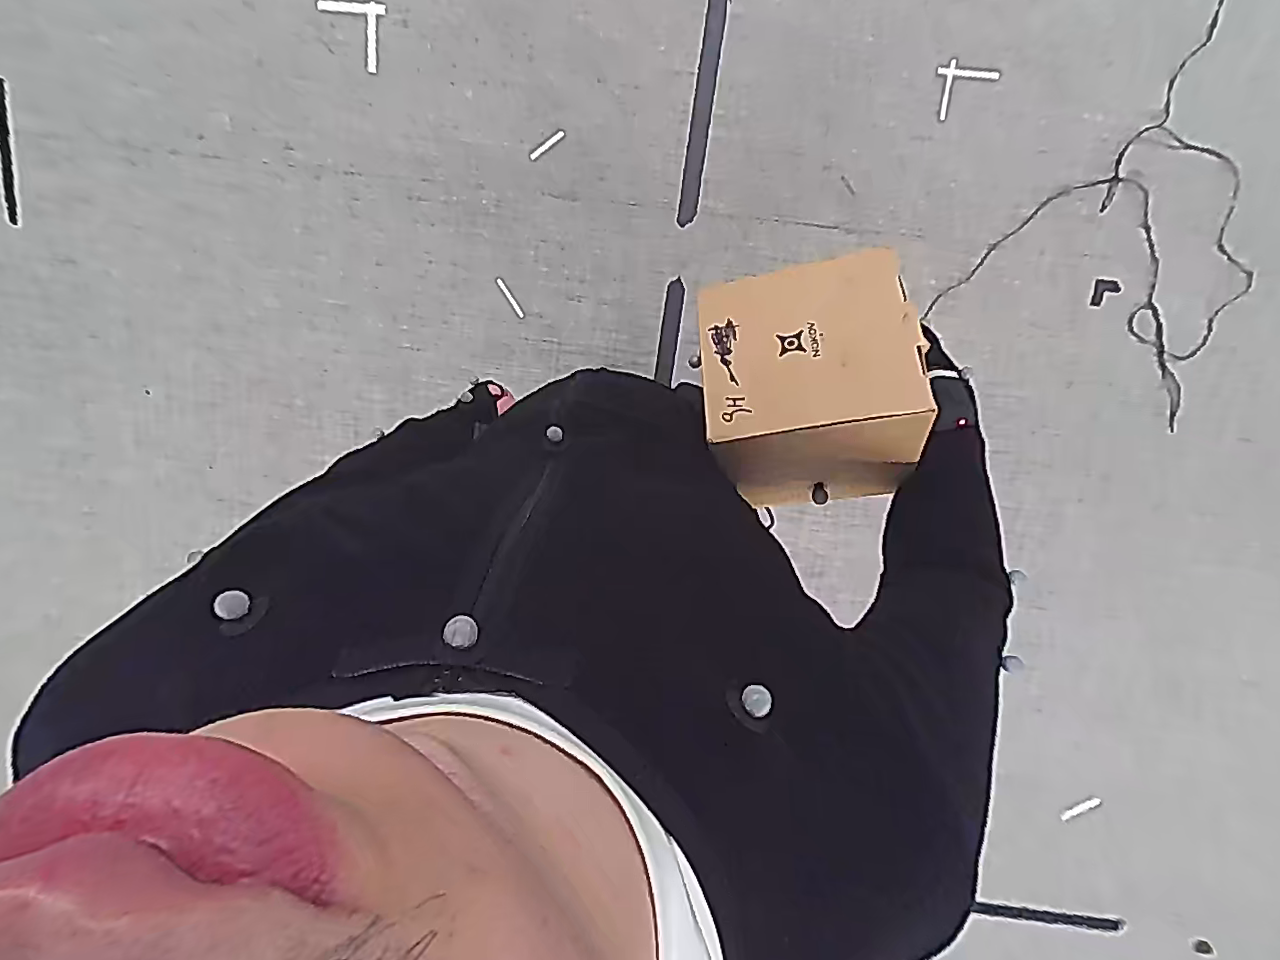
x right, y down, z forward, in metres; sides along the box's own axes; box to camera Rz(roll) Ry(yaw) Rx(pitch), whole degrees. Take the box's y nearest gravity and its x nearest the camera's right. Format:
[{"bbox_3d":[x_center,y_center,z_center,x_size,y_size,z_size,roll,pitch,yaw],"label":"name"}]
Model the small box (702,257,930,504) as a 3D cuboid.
[{"bbox_3d":[0.165,-0.086,0.544,0.179,0.176,0.168,-8,64,15],"label":"small box"}]
